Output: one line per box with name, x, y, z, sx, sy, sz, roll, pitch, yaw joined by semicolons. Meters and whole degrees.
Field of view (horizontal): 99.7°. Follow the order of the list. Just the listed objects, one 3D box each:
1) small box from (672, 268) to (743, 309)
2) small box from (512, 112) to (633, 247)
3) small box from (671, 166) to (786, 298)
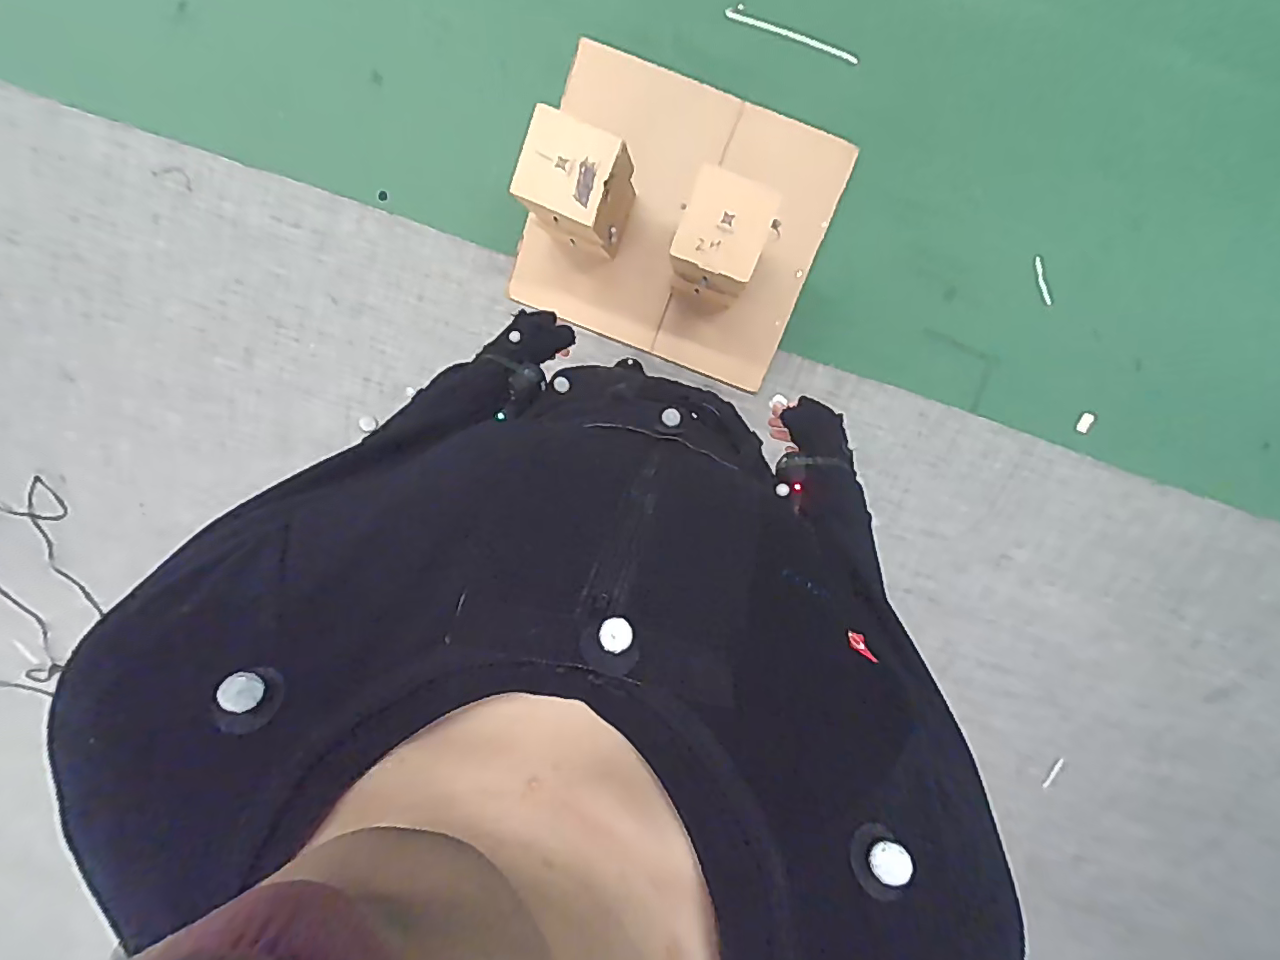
small box;0.177;-0.511;1.253;0.168;0.176;0.179;19;104;0
small box;-0.127;-0.589;1.087;0.179;0.176;0.168;24;103;1
small box;0.169;-0.486;1.089;0.168;0.176;0.179;22;103;0
